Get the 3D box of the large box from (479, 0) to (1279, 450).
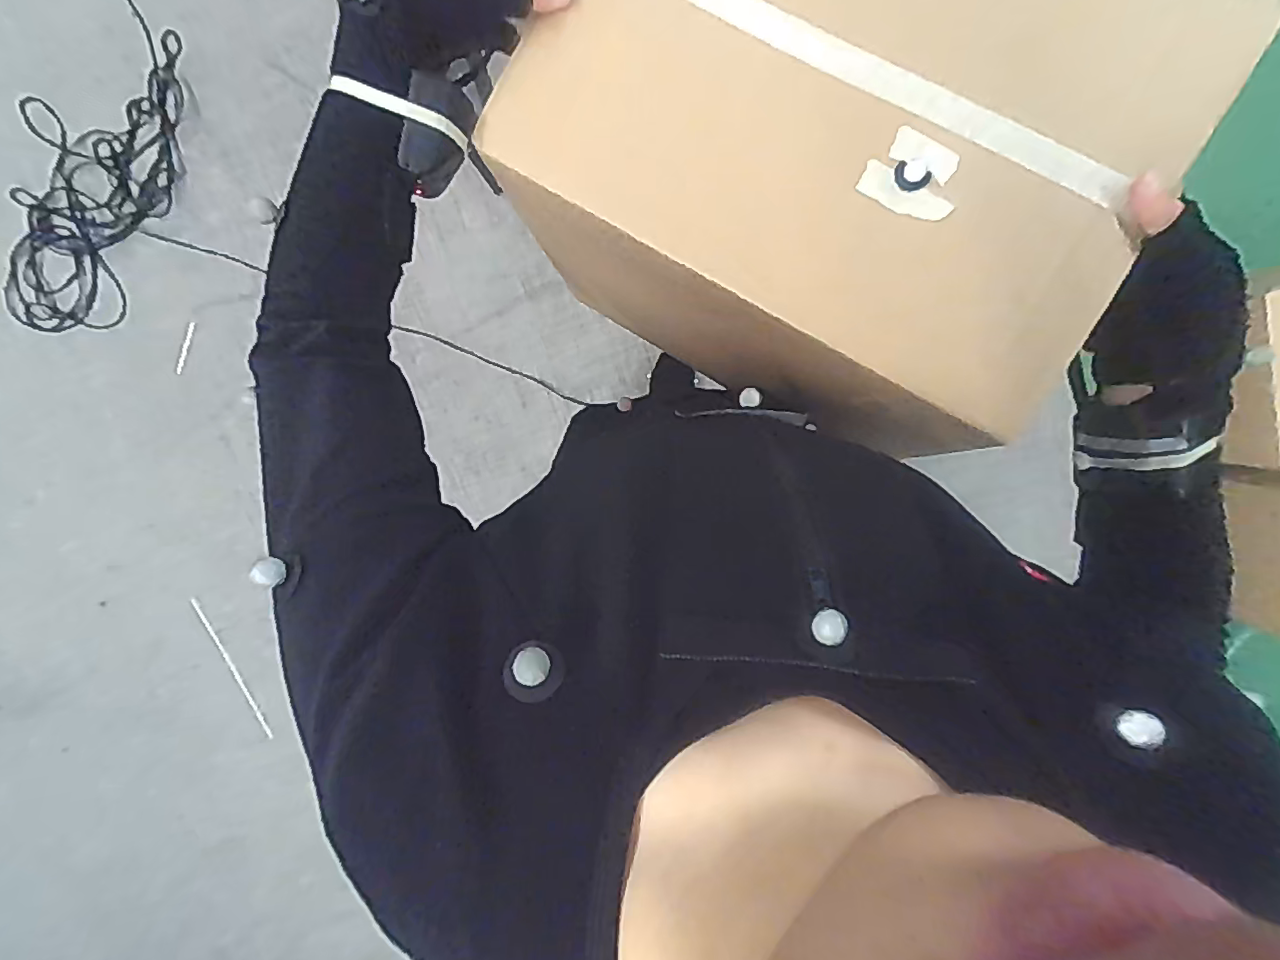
[{"bbox_3d":[0.147,-0.261,0.487,0.408,0.320,0.320,31,94,5],"label":"large box"}]
